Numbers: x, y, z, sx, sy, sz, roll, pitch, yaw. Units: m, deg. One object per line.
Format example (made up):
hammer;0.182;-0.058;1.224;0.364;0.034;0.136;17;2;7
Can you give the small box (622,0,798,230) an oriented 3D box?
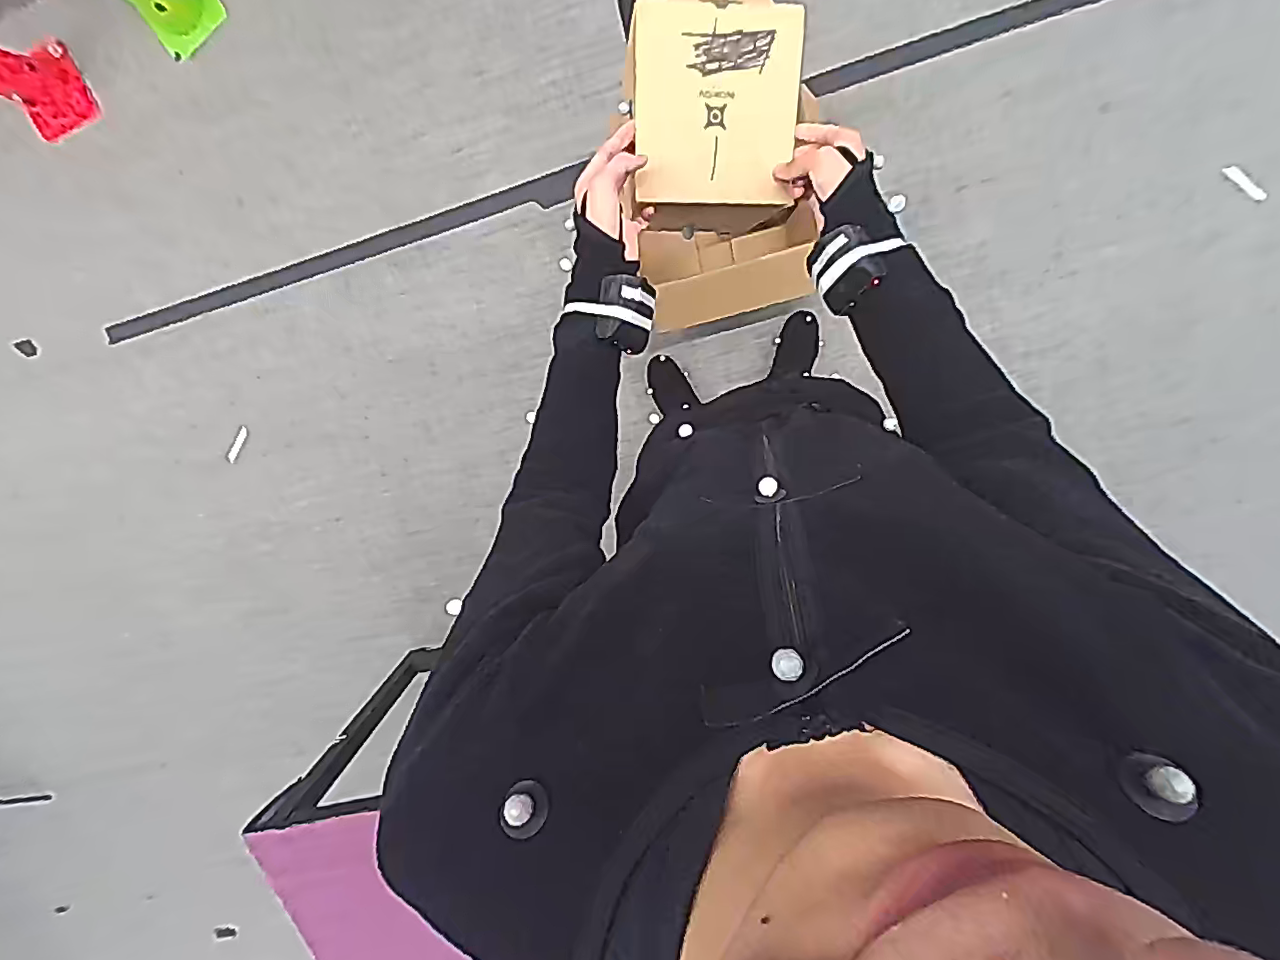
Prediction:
small box;0.067;-0.398;0.621;0.168;0.176;0.179;-2;107;-5
